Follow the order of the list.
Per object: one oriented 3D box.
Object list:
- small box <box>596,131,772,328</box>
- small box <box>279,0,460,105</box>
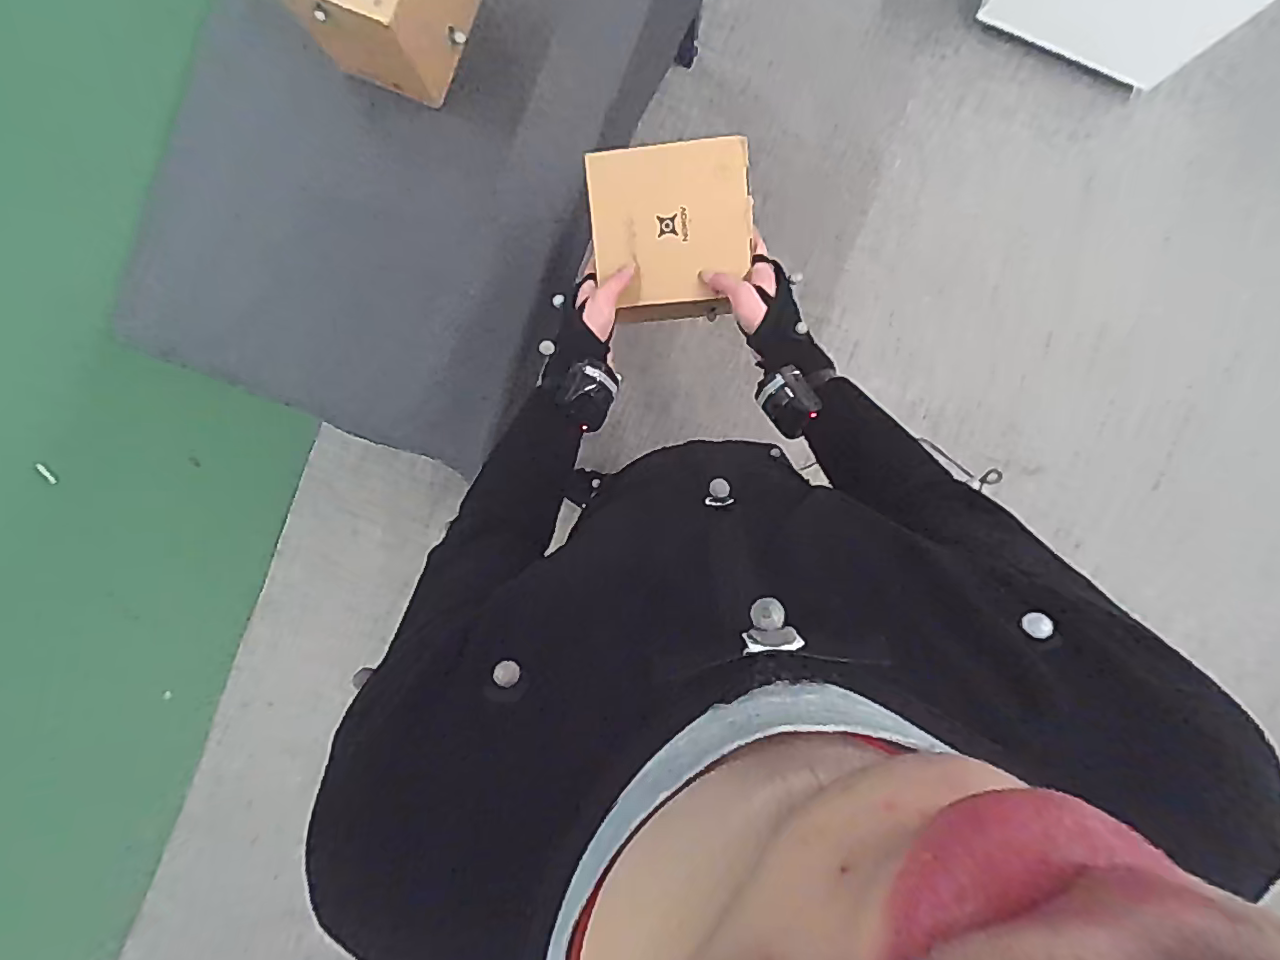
[{"bbox_3d":[0.050,-0.282,0.647,0.179,0.176,0.168,-6,98,4],"label":"small box"},{"bbox_3d":[-0.349,-0.639,0.690,0.168,0.176,0.179,21,91,-3],"label":"small box"}]
